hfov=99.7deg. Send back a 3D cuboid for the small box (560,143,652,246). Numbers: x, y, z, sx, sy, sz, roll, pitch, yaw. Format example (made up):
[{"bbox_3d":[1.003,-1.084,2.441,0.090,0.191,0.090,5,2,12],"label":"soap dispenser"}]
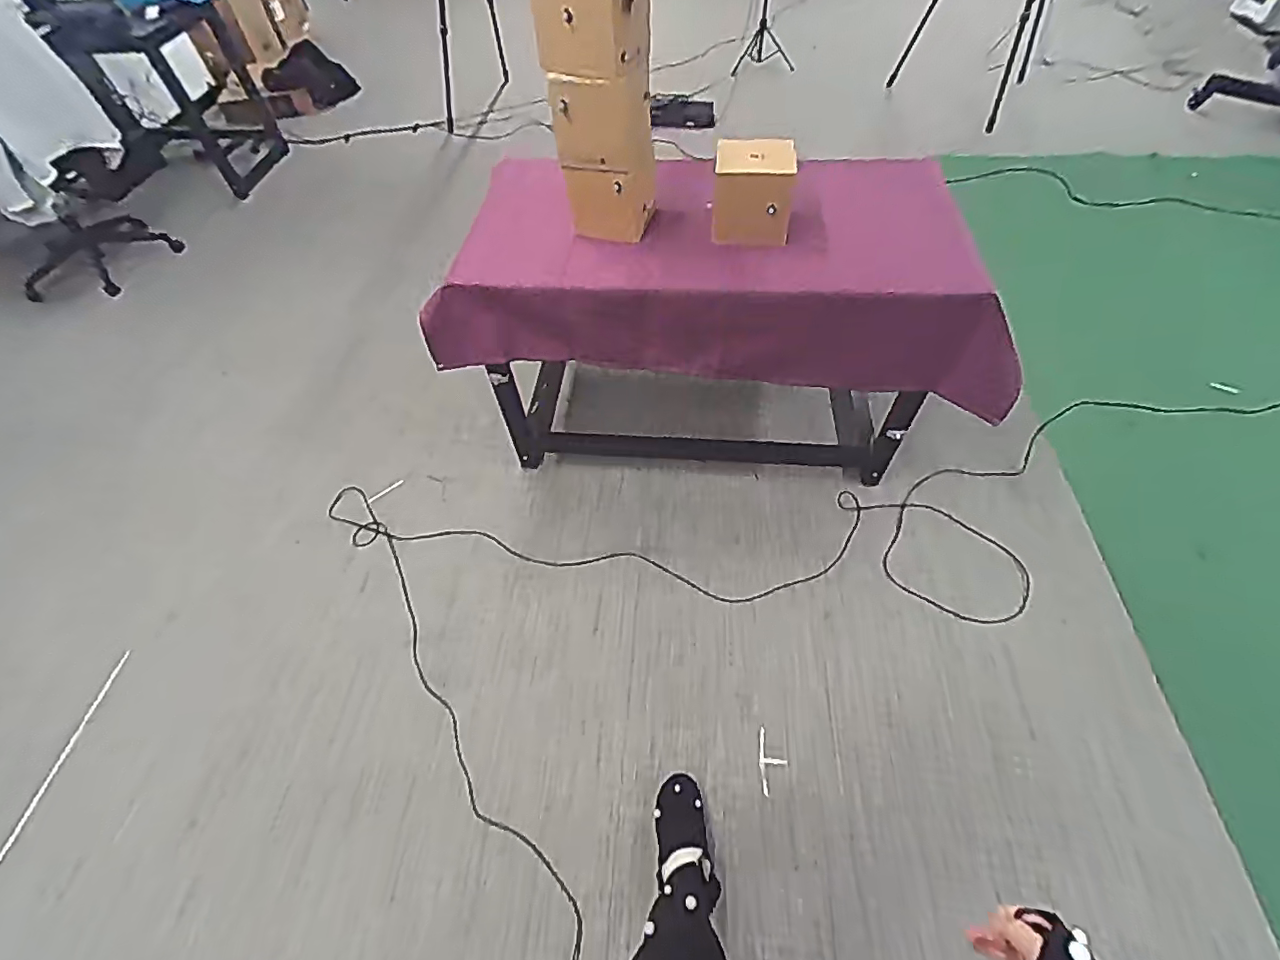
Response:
[{"bbox_3d":[-0.076,-0.696,1.322,0.179,0.176,0.168,12,55,11],"label":"small box"}]

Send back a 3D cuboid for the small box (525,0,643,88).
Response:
[{"bbox_3d":[-0.102,-0.903,1.068,0.179,0.176,0.168,18,56,16],"label":"small box"}]

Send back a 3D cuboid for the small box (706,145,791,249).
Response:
[{"bbox_3d":[0.253,-0.668,1.283,0.179,0.176,0.168,4,53,7],"label":"small box"}]
